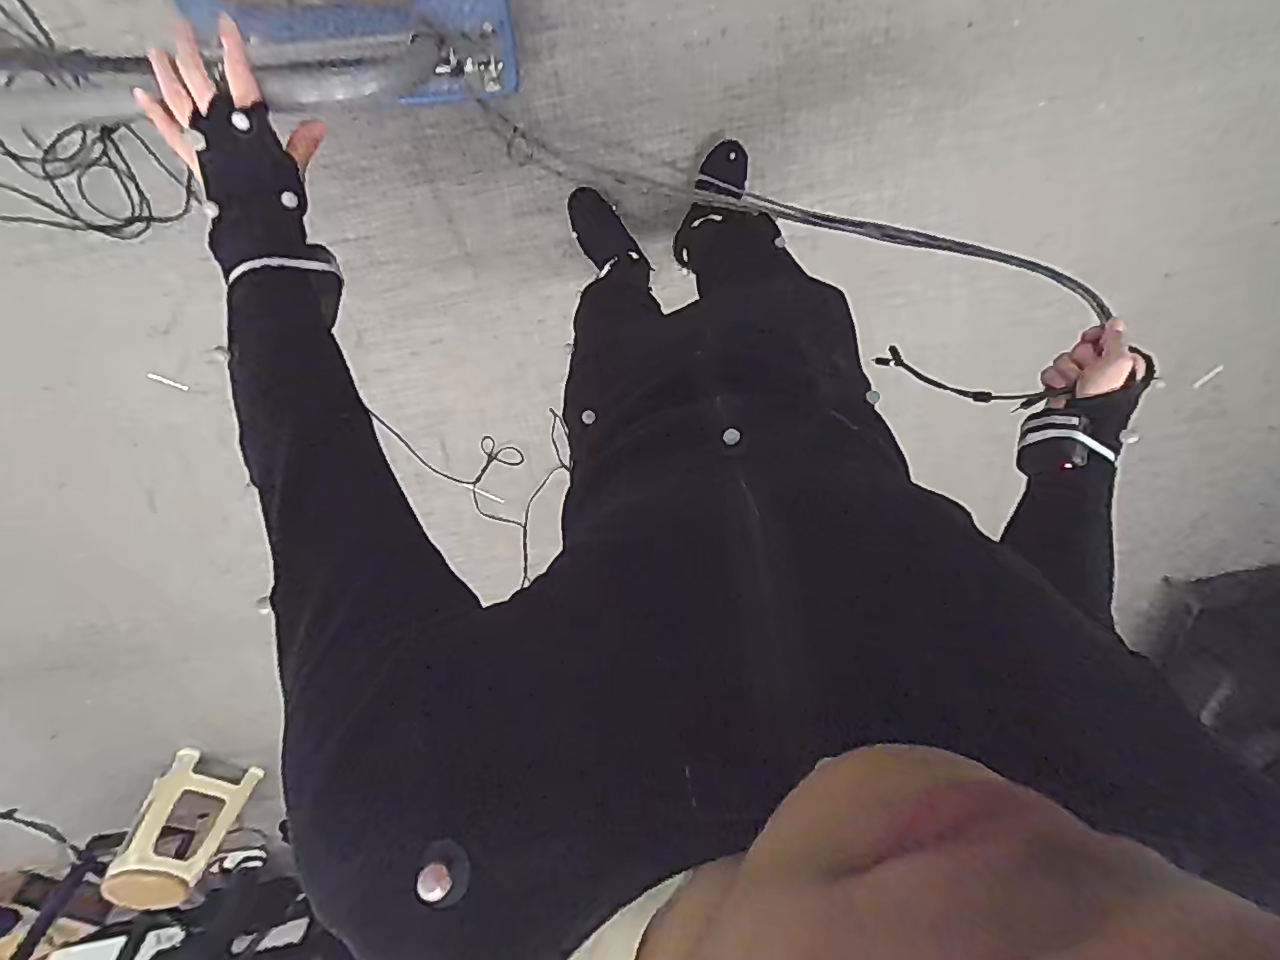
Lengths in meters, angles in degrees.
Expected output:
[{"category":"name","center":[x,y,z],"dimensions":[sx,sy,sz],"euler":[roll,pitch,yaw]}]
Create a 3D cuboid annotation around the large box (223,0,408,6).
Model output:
[{"category":"large box","center":[-0.547,-0.919,0.717],"dimensions":[0.320,0.320,0.408],"euler":[-3,123,-5]}]
